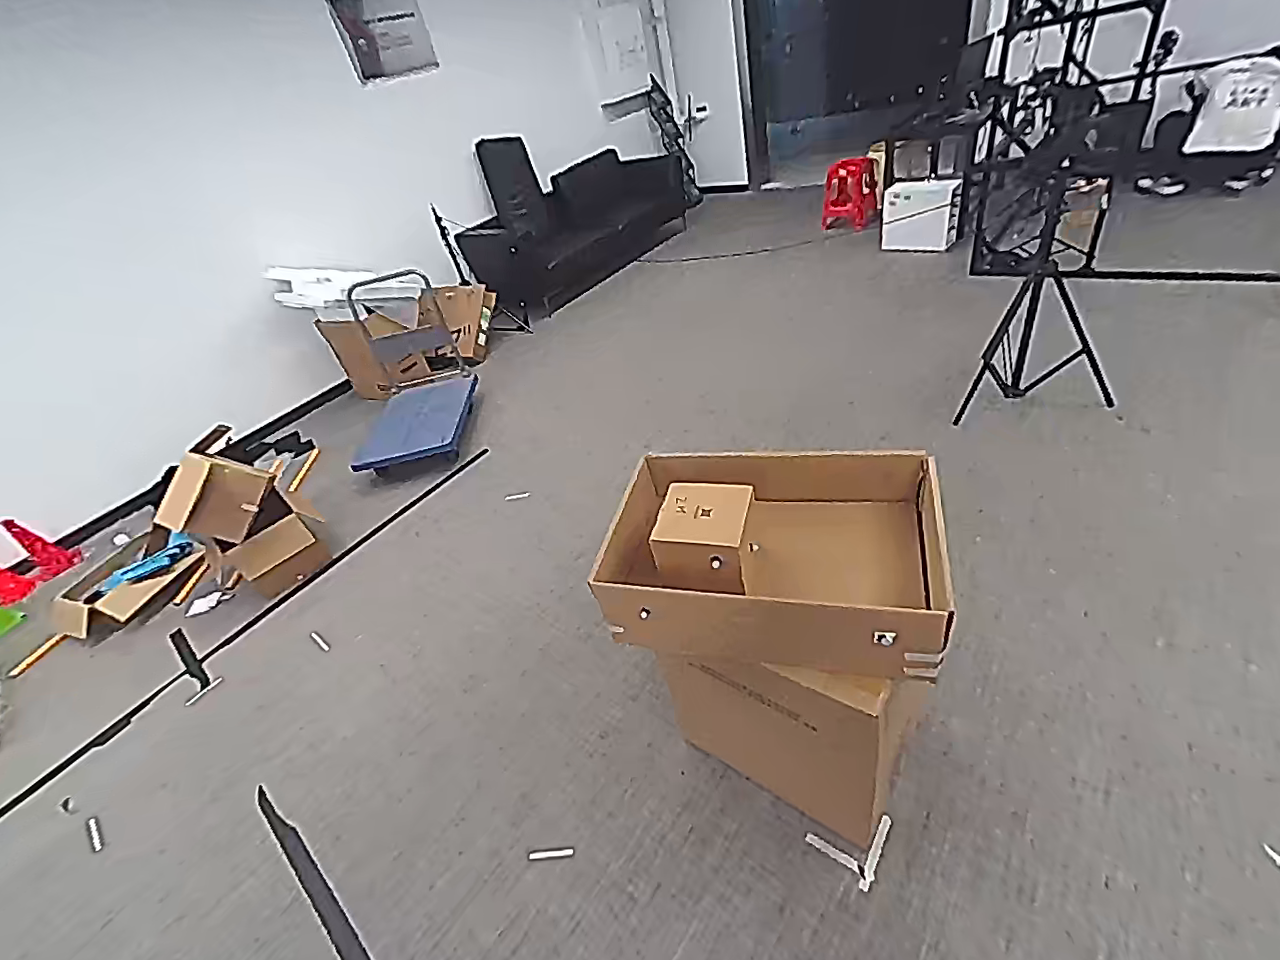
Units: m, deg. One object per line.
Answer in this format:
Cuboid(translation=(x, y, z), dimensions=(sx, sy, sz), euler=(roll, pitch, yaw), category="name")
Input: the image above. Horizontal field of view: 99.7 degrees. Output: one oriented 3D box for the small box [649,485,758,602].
Cuboid(translation=(0.139, 0.130, 1.100), dimensions=(0.179, 0.176, 0.168), euler=(2, 42, 22), category="small box")
